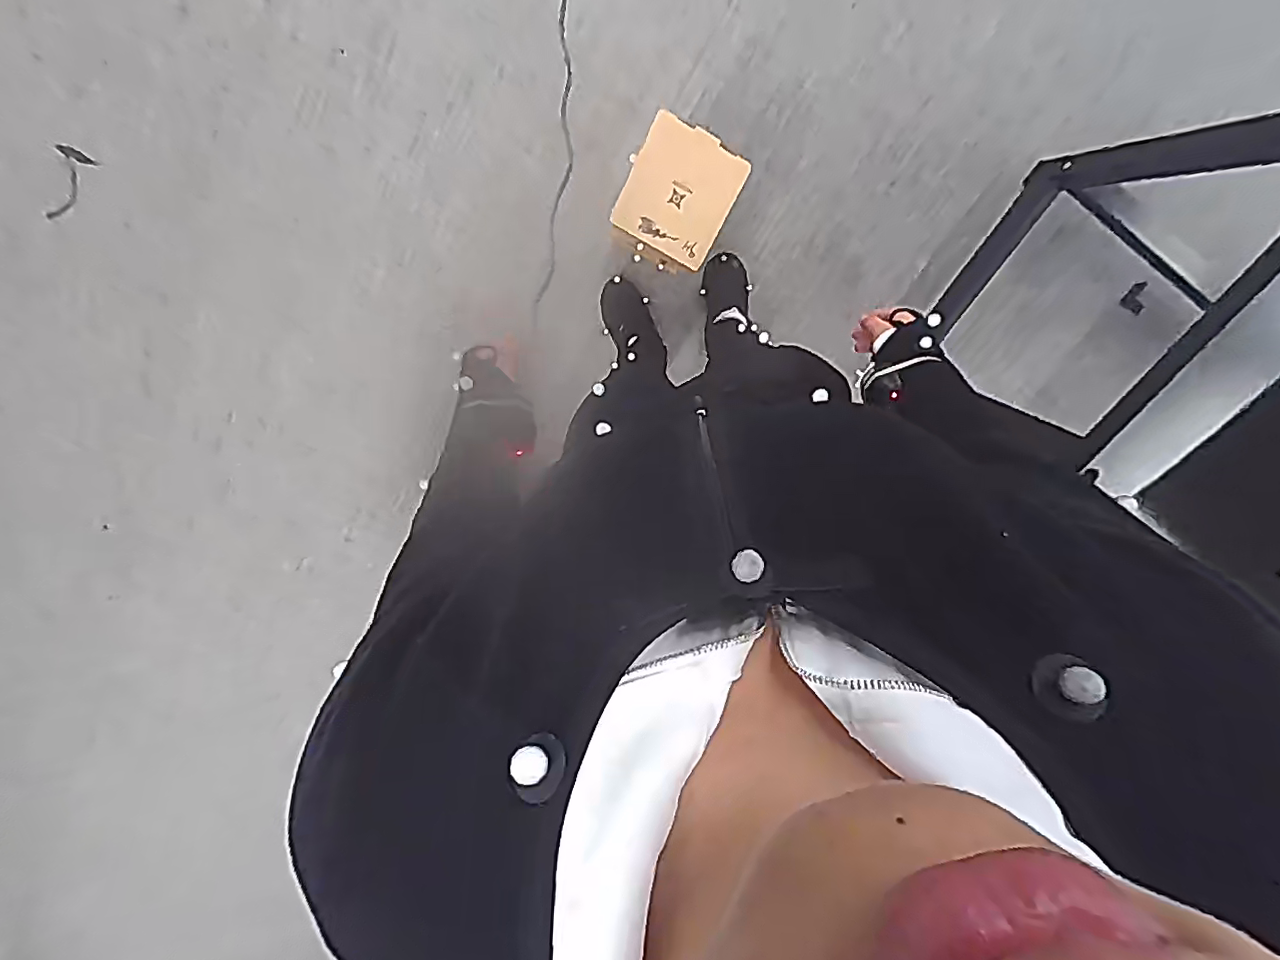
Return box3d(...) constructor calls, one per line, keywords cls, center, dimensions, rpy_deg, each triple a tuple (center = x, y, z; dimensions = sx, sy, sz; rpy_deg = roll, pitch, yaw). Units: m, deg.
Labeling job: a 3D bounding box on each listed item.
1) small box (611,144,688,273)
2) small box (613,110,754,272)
box3d(cls="small box", center=(0.053, -0.530, 1.072), dimensions=(0.168, 0.176, 0.179), rpy_deg=(22, 109, -11))
box3d(cls="small box", center=(0.063, -0.475, 0.917), dimensions=(0.168, 0.176, 0.179), rpy_deg=(26, 109, -11))
